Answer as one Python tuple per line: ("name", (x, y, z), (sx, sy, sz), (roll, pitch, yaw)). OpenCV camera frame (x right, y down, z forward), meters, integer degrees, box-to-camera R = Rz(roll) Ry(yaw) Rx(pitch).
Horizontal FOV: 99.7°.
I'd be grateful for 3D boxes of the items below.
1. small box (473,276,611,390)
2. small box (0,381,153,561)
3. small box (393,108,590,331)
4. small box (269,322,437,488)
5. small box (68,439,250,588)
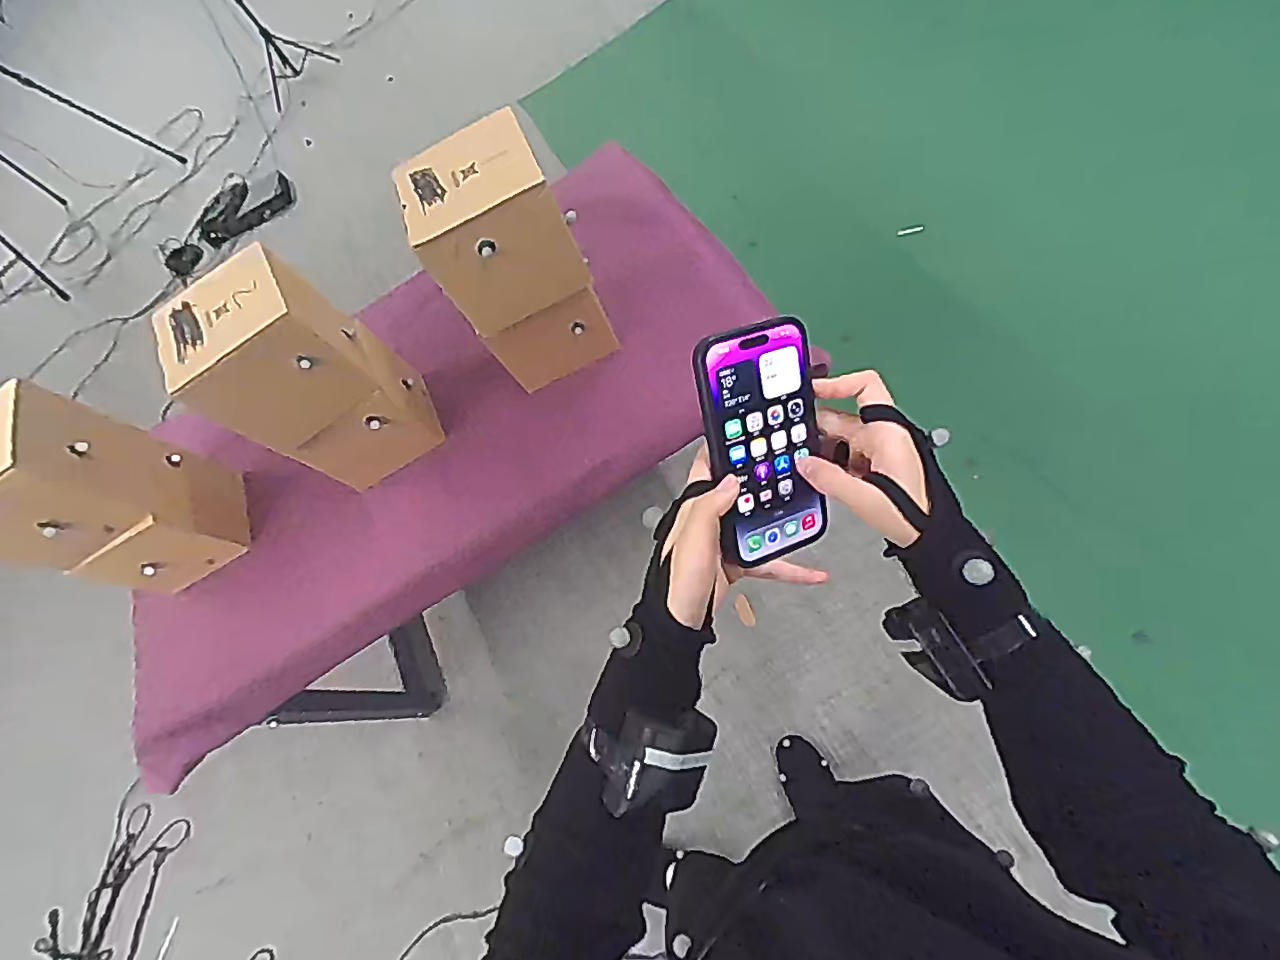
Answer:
("small box", (-0.160, -0.279, 0.871), (0.179, 0.176, 0.168), (-25, 63, 6))
("small box", (-0.852, 0.000, 0.776), (0.168, 0.176, 0.179), (-35, 63, 0))
("small box", (-0.191, -0.333, 0.718), (0.179, 0.176, 0.168), (-25, 63, 5))
("small box", (-0.460, -0.116, 0.890), (0.179, 0.176, 0.168), (-31, 62, 3))
("small box", (-0.803, 0.068, 0.918), (0.168, 0.176, 0.179), (-30, 62, 3))
